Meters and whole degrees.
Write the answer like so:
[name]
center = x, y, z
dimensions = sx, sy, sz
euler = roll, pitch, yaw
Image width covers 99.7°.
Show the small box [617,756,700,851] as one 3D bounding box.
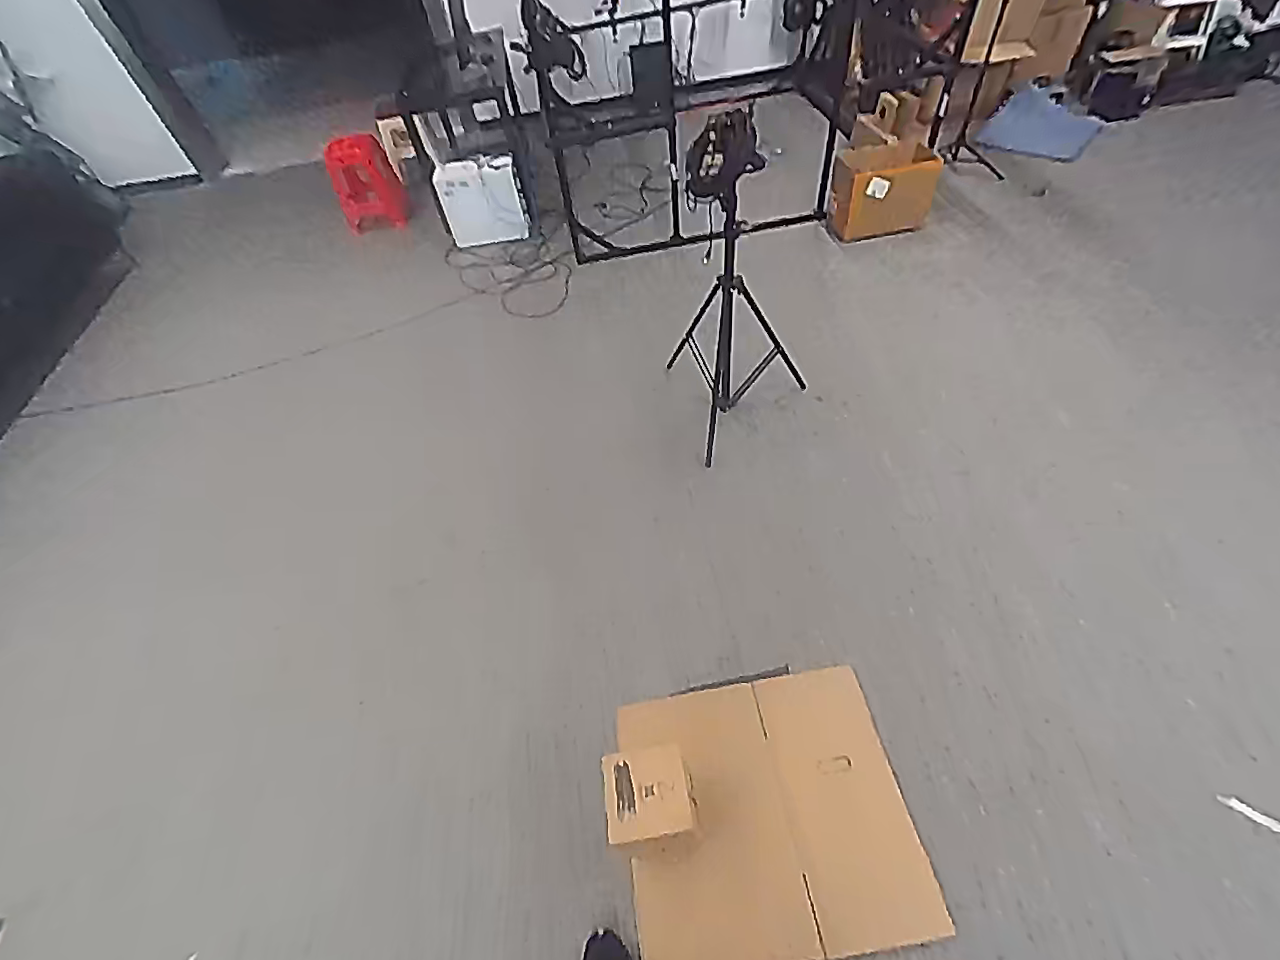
[small box]
center = 0.047, 0.793, 1.322
dimensions = 0.179, 0.176, 0.168
euler = -11, 51, 0
